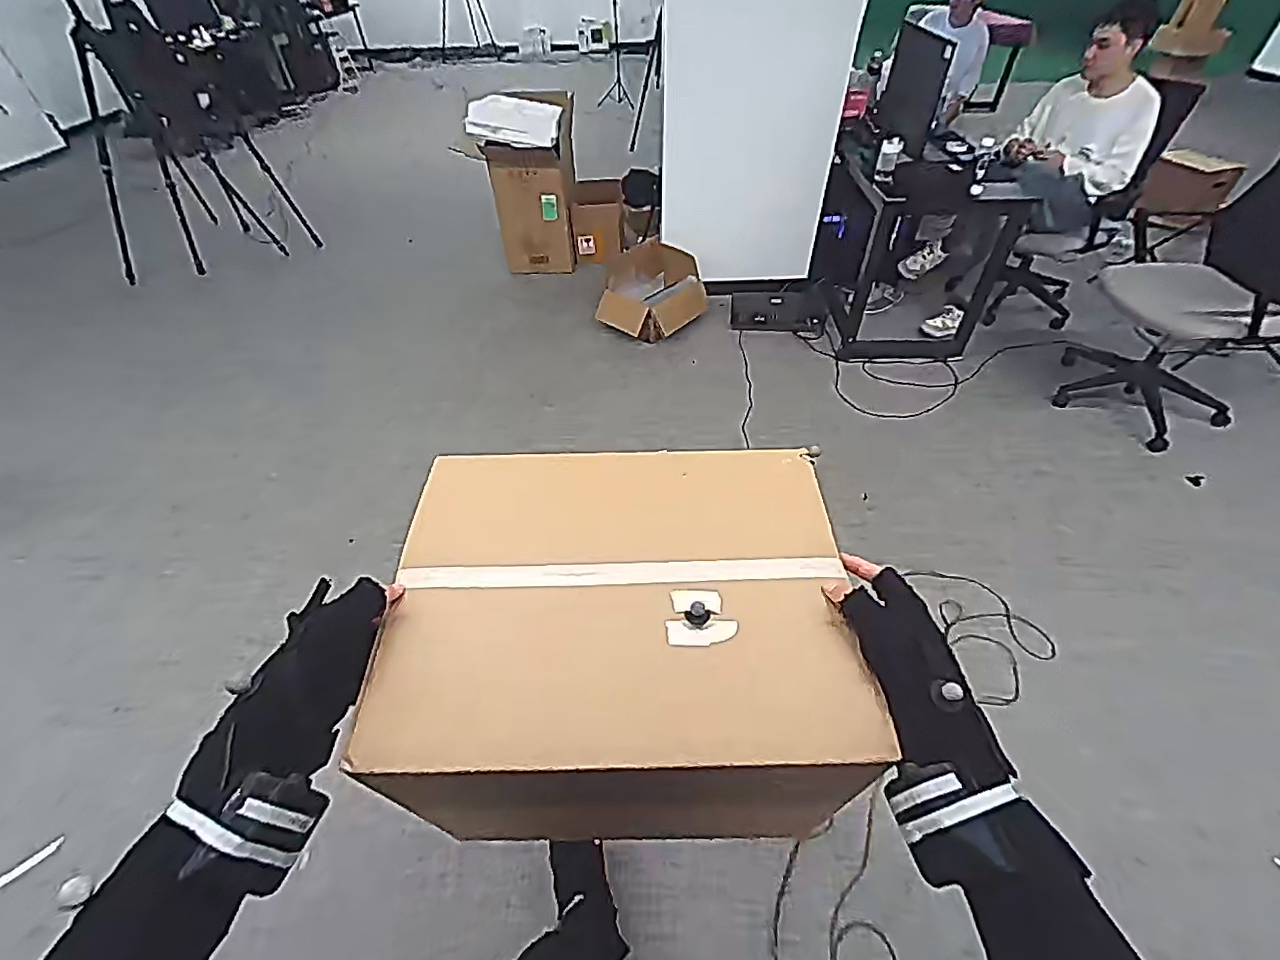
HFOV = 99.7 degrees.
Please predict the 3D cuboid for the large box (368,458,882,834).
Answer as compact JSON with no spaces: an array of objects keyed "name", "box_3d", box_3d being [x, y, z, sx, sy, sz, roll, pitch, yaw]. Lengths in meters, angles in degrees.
[{"name":"large box","box_3d":[-0.014,0.191,0.619,0.408,0.320,0.320,-1,49,0]}]
